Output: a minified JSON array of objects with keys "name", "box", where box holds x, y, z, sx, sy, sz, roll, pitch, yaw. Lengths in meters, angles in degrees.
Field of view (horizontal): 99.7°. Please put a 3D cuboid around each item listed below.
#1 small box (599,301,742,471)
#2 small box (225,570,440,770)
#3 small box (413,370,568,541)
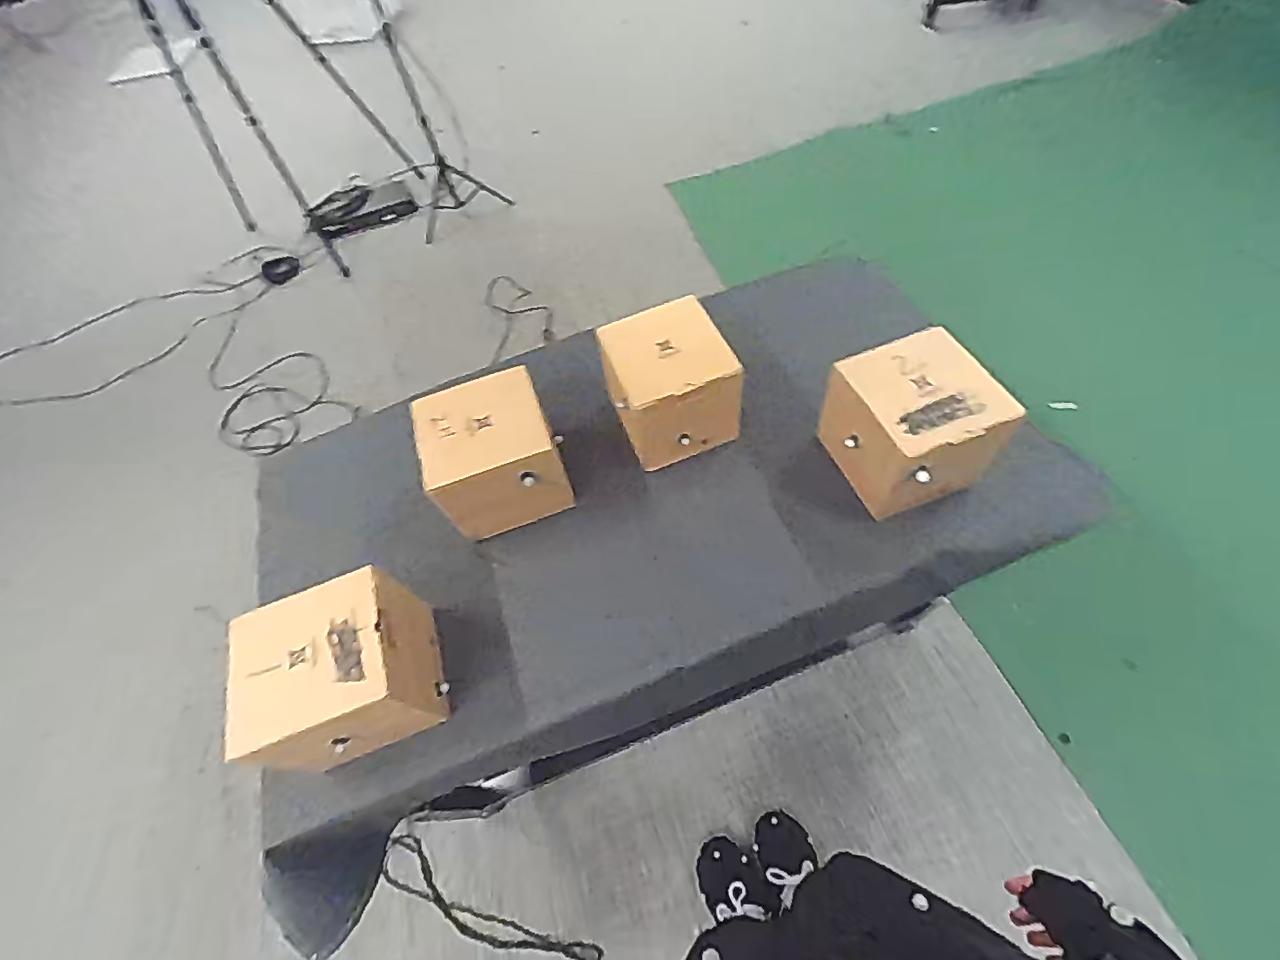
[{"name":"small box","box":[0.046,-0.146,0.864,0.168,0.176,0.179,-21,59,-6]},{"name":"small box","box":[-0.367,0.241,0.674,0.179,0.176,0.168,-21,58,-6]},{"name":"small box","box":[-0.217,-0.032,0.822,0.179,0.176,0.168,-20,59,-5]}]
